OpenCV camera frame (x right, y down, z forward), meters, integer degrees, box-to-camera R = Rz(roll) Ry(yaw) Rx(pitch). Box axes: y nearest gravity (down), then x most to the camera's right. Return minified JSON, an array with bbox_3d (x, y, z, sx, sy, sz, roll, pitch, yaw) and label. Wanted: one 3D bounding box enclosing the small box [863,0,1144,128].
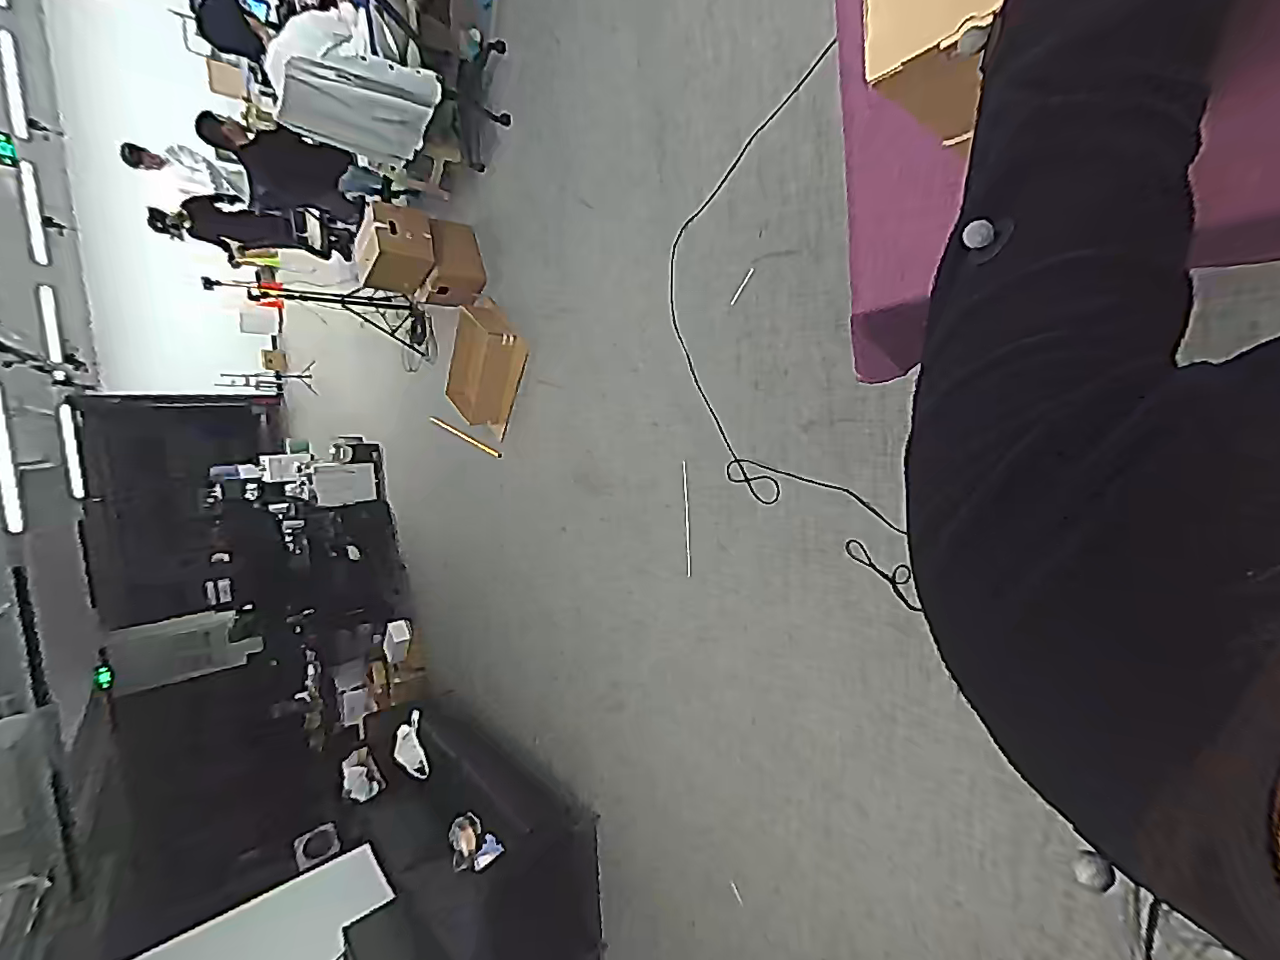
[{"bbox_3d":[0.309,-0.434,0.460,0.168,0.176,0.179,3,98,49],"label":"small box"}]
